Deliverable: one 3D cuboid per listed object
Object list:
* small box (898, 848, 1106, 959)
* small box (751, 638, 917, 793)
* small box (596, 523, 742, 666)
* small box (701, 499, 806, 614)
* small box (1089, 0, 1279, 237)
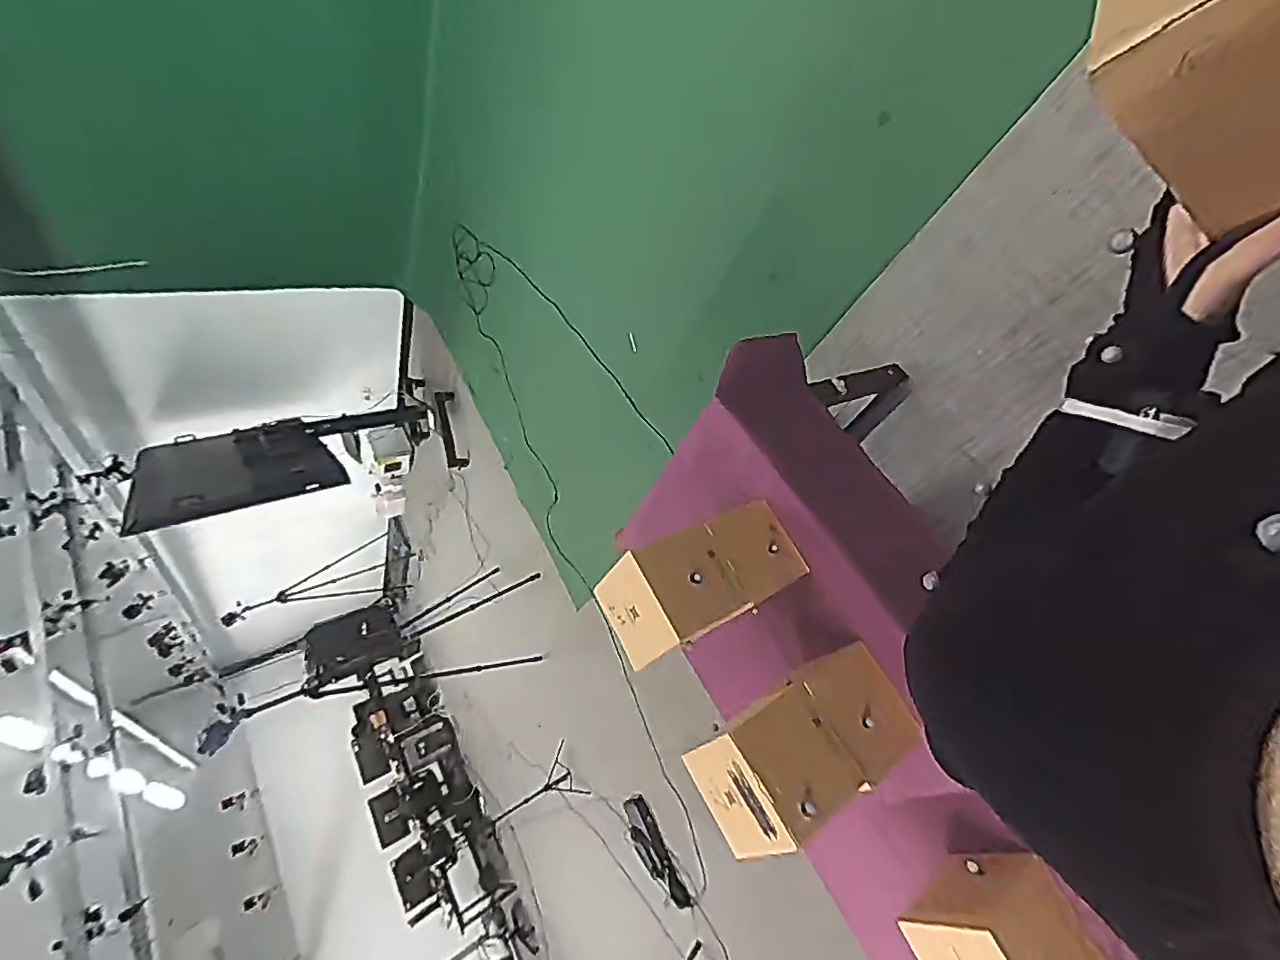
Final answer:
[{"bbox_3d":[0.531,0.677,0.787,0.179,0.176,0.168,60,142,20],"label":"small box"},{"bbox_3d":[0.338,0.406,0.940,0.179,0.176,0.168,59,142,18],"label":"small box"},{"bbox_3d":[0.054,0.197,0.955,0.168,0.176,0.179,60,142,19],"label":"small box"},{"bbox_3d":[0.183,0.160,1.051,0.168,0.176,0.179,60,142,17],"label":"small box"},{"bbox_3d":[0.349,-0.258,0.242,0.168,0.179,0.176,-2,67,64],"label":"small box"}]
